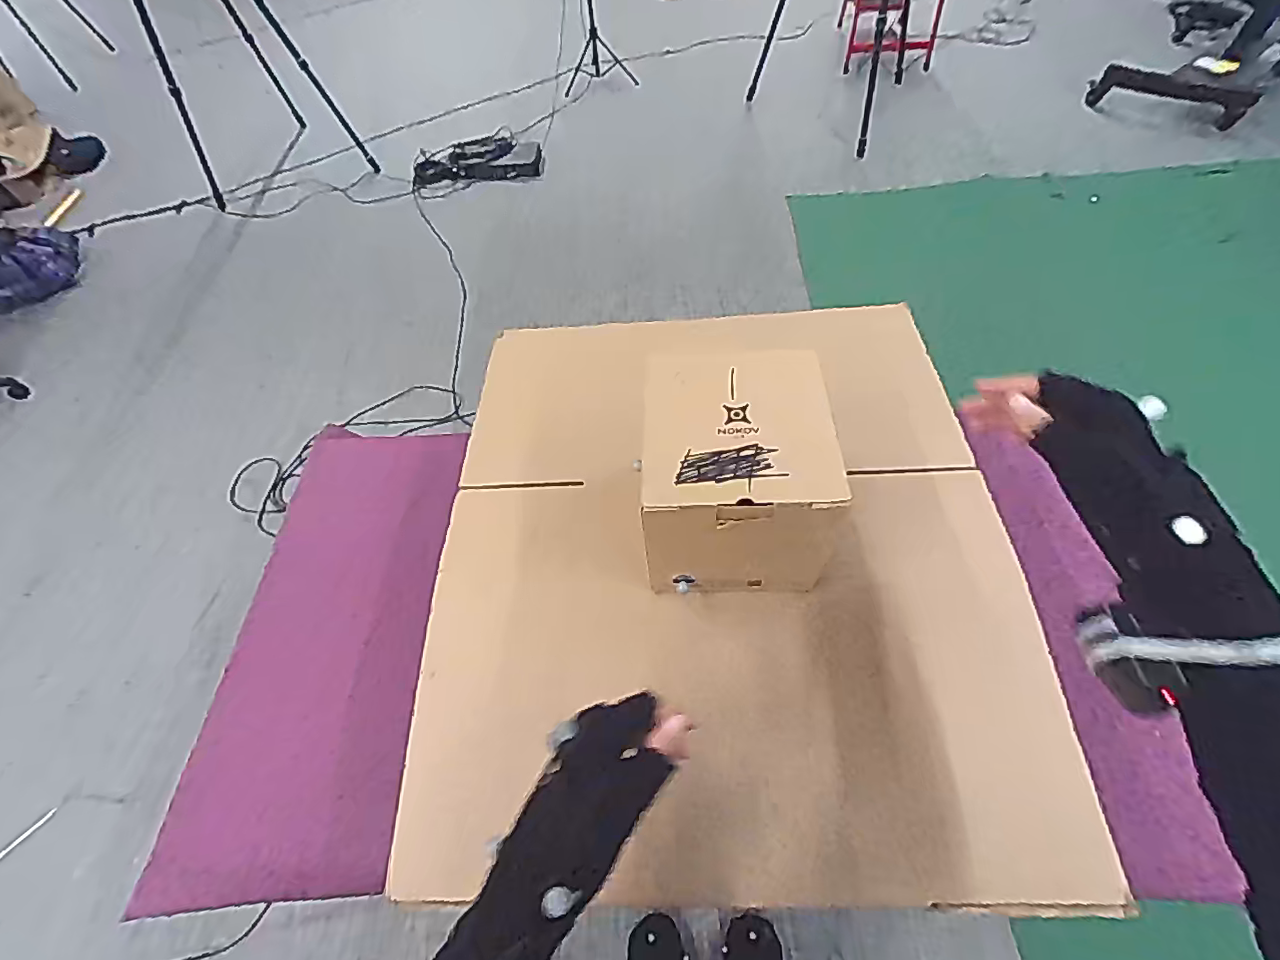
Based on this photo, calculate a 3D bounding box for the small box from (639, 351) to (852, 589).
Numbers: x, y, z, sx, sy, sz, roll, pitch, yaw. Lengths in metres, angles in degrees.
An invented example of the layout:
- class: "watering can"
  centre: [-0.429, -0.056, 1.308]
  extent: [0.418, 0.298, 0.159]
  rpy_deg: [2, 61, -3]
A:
- class: "small box"
  centre: [0.089, 0.000, 0.534]
  extent: [0.168, 0.176, 0.179]
  rpy_deg: [-4, 57, 2]
